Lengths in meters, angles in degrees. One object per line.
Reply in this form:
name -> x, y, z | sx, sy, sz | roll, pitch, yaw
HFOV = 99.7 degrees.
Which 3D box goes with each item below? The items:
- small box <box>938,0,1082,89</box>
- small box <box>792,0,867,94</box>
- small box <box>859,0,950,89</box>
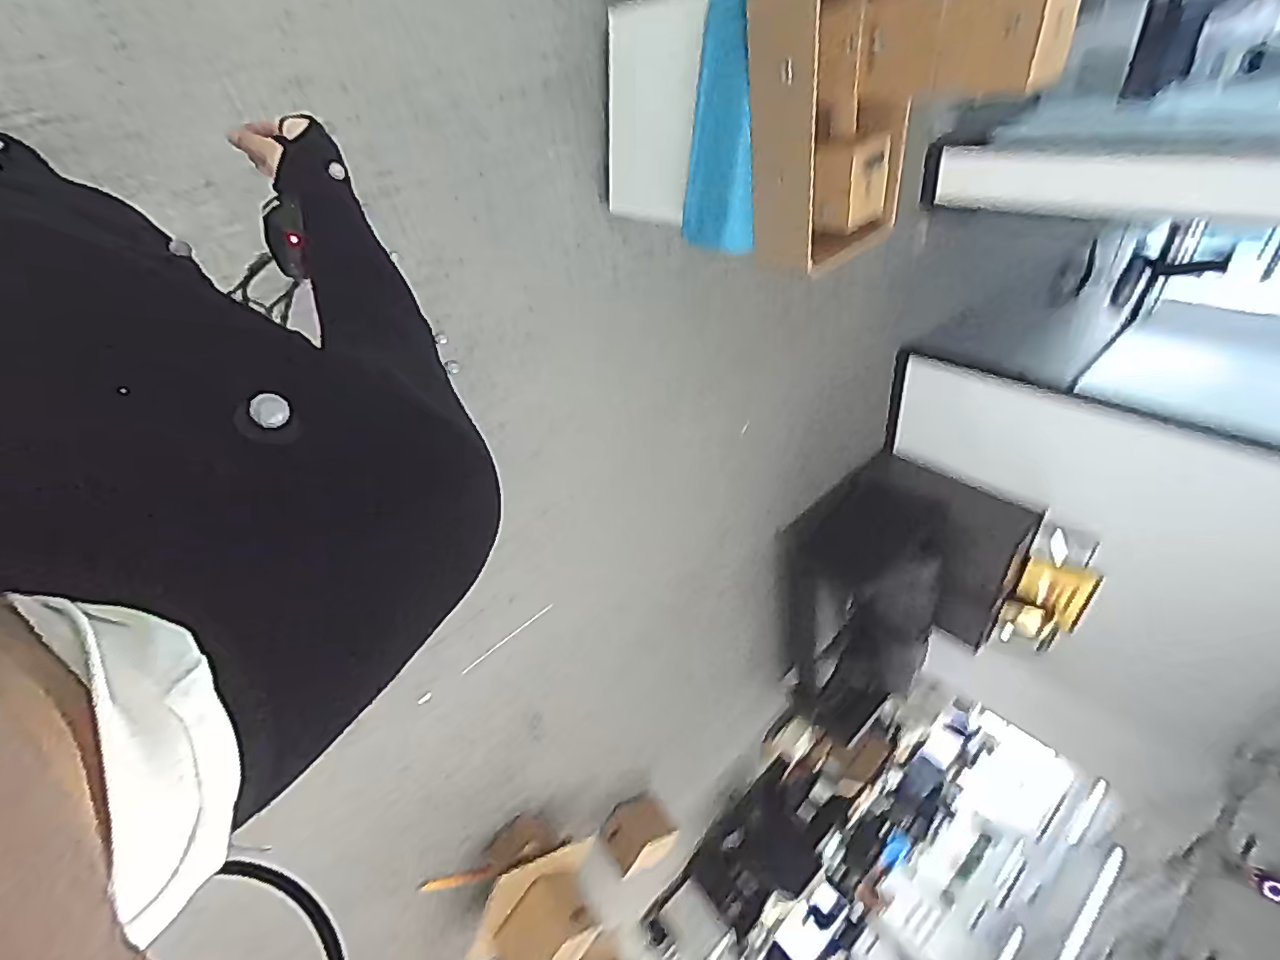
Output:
small box -> 0.676, -0.840, 0.988 | 0.168, 0.176, 0.179 | -35, 135, -26
small box -> 0.461, -0.971, 1.196 | 0.179, 0.176, 0.168 | -36, 135, -26
small box -> 0.572, -0.909, 1.095 | 0.179, 0.176, 0.168 | -35, 136, -25
